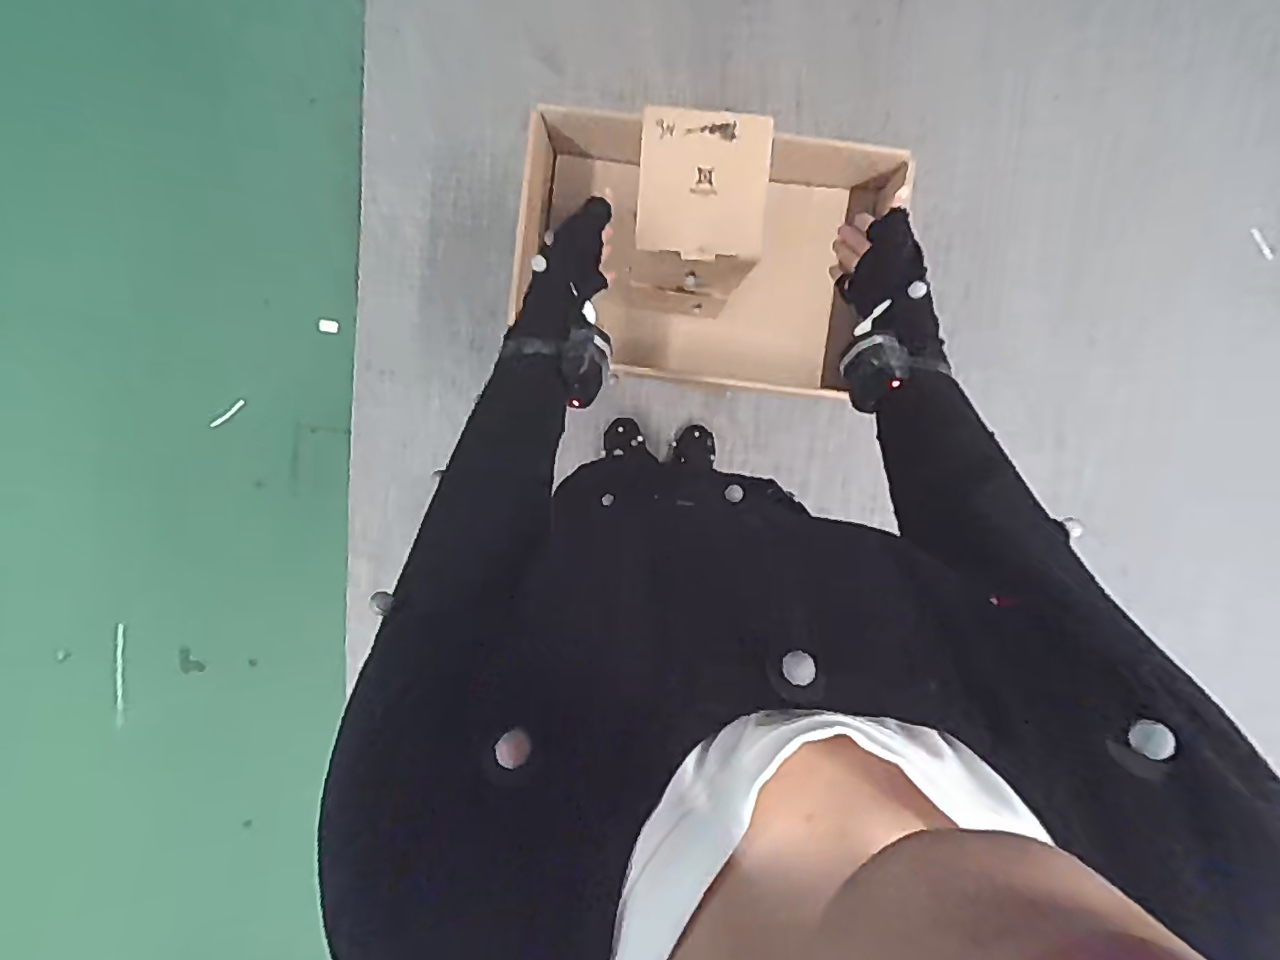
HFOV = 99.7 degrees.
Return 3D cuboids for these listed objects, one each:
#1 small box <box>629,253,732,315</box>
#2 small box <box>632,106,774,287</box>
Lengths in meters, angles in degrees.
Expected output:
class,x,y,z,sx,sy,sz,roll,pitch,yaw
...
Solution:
class,x,y,z,sx,sy,sz,roll,pitch,yaw
small box,0.074,-0.392,0.925,0.168,0.176,0.179,7,94,-2
small box,0.079,-0.382,0.761,0.168,0.176,0.179,5,97,-2
